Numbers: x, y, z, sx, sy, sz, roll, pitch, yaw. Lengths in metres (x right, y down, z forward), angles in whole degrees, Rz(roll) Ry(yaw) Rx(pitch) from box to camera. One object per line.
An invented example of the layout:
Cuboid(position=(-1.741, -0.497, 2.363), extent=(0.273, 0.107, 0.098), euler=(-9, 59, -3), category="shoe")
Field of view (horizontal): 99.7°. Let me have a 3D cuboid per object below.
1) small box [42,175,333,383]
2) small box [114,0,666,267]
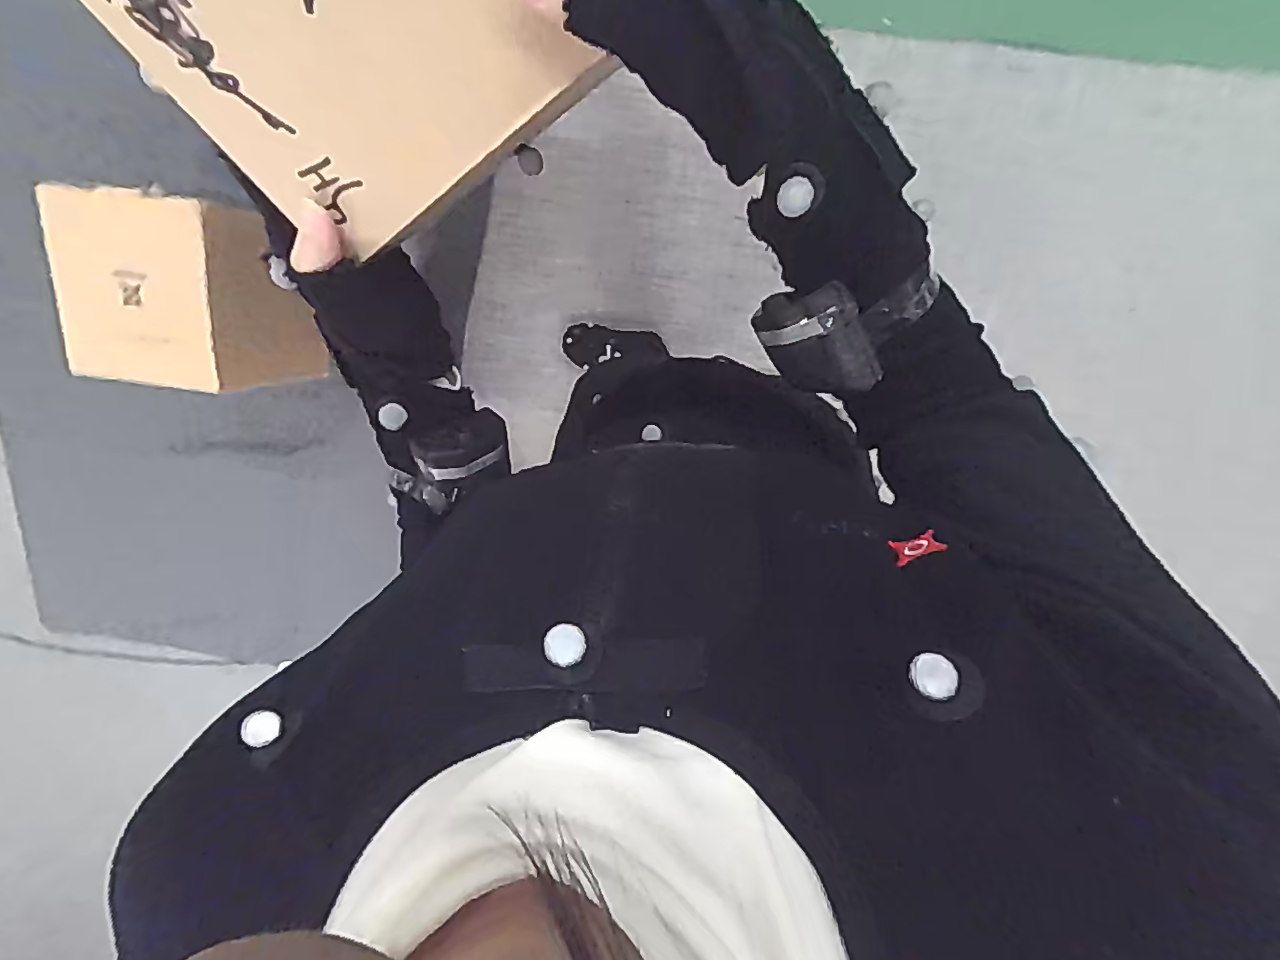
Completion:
Cuboid(position=(-0.470, -0.213, 0.593), extent=(0.168, 0.176, 0.179), euler=(8, 109, 6), category="small box")
Cuboid(position=(-0.109, -0.244, 0.264), extent=(0.179, 0.176, 0.168), euler=(-31, 121, 18), category="small box")
